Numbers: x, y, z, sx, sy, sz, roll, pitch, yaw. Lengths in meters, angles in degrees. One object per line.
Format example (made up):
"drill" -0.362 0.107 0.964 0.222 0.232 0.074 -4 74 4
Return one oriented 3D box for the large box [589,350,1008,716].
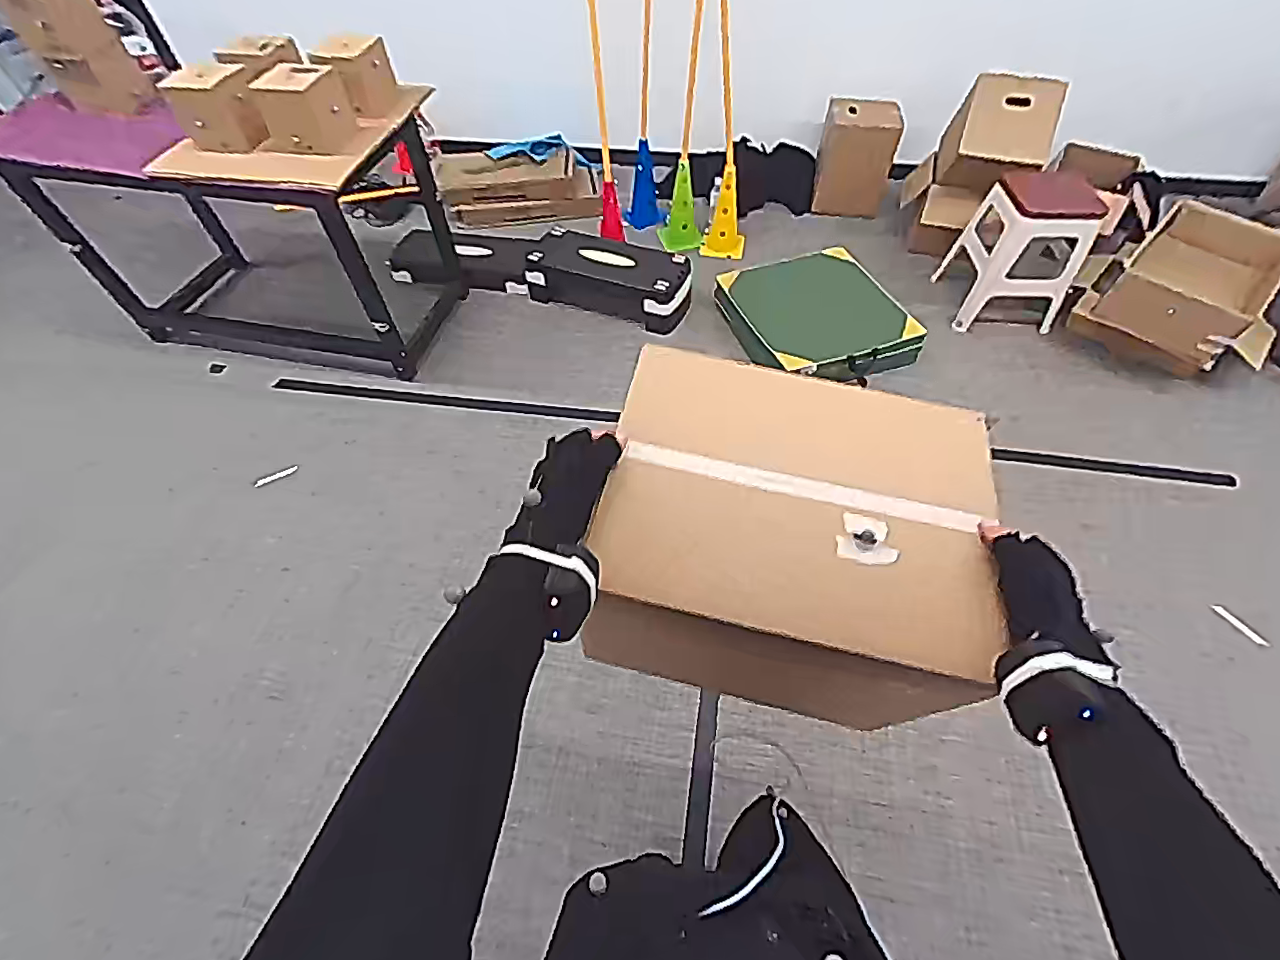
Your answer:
"large box" 0.166 0.082 0.704 0.408 0.320 0.320 14 61 5
